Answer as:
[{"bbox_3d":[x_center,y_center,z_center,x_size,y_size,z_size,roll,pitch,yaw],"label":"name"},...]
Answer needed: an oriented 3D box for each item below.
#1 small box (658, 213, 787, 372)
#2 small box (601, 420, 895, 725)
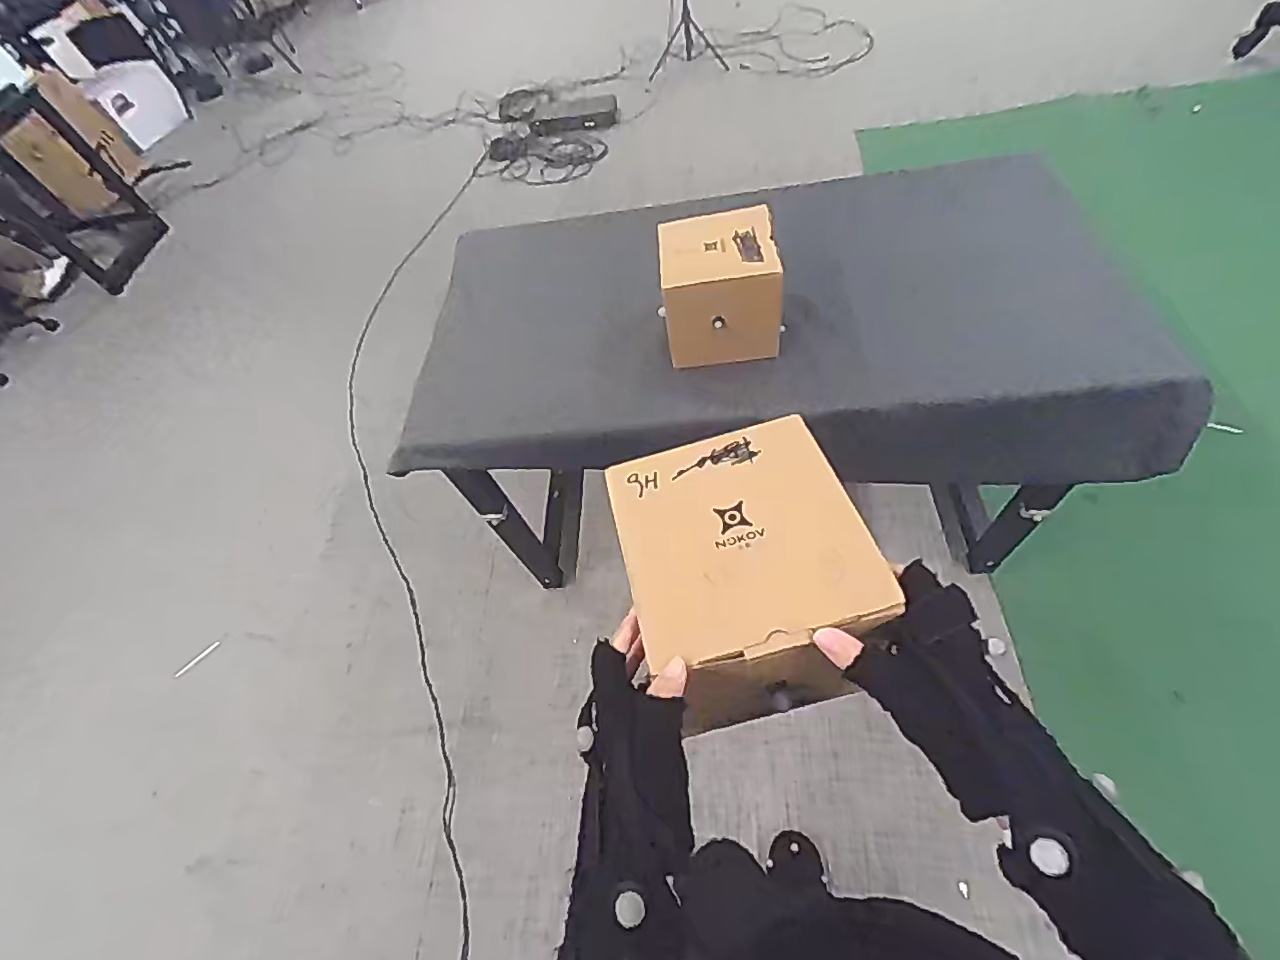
[{"bbox_3d":[0.127,-0.297,0.876,0.179,0.176,0.168,-7,57,5],"label":"small box"},{"bbox_3d":[0.078,0.086,0.445,0.168,0.176,0.179,-16,52,1],"label":"small box"}]
